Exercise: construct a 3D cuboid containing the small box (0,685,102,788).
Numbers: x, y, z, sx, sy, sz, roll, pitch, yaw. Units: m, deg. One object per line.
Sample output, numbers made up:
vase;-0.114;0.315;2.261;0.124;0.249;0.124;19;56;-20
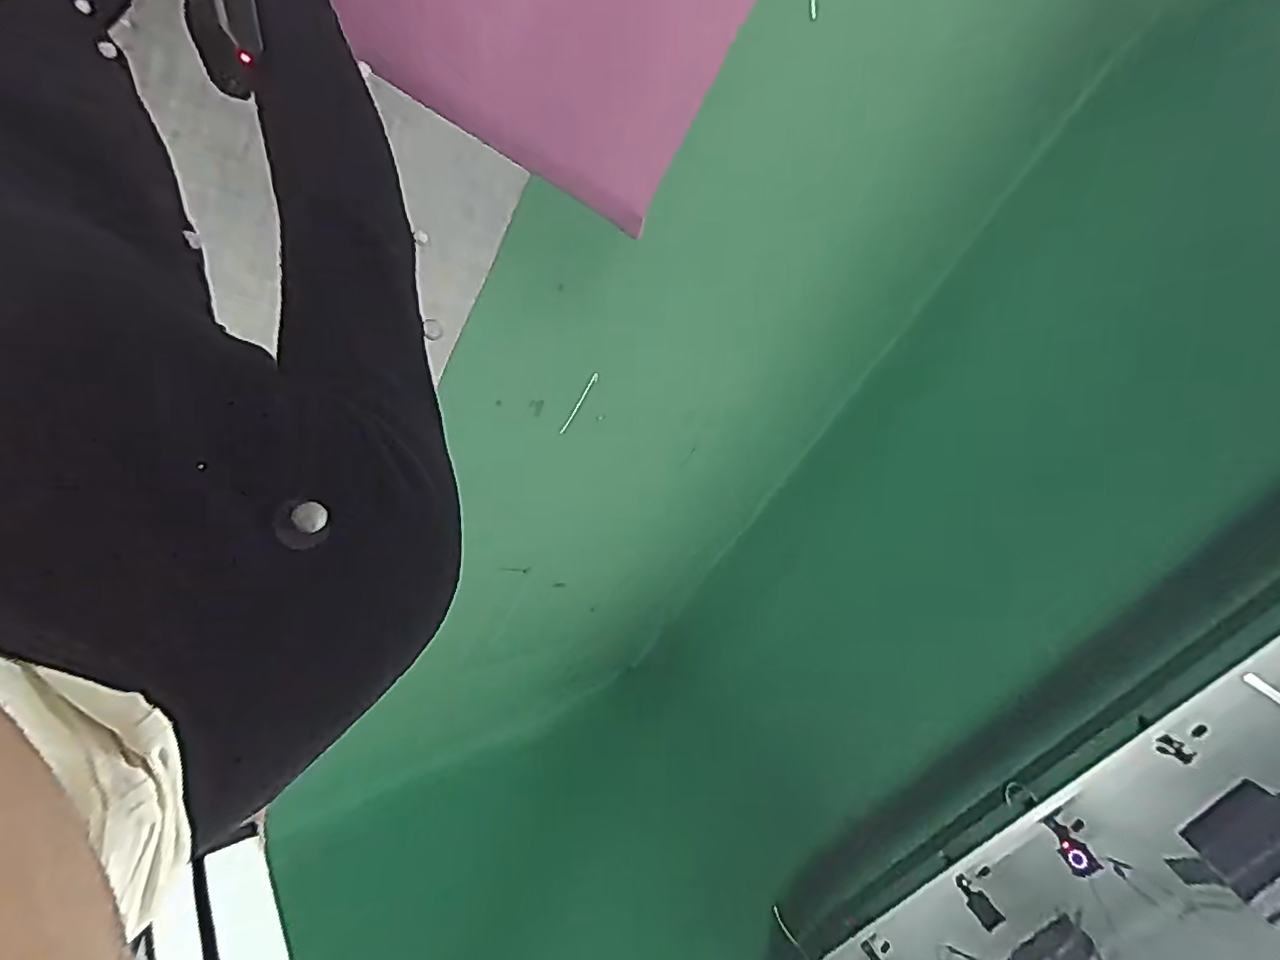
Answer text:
small box;-1.608;0.692;1.476;0.168;0.176;0.179;11;121;-53
